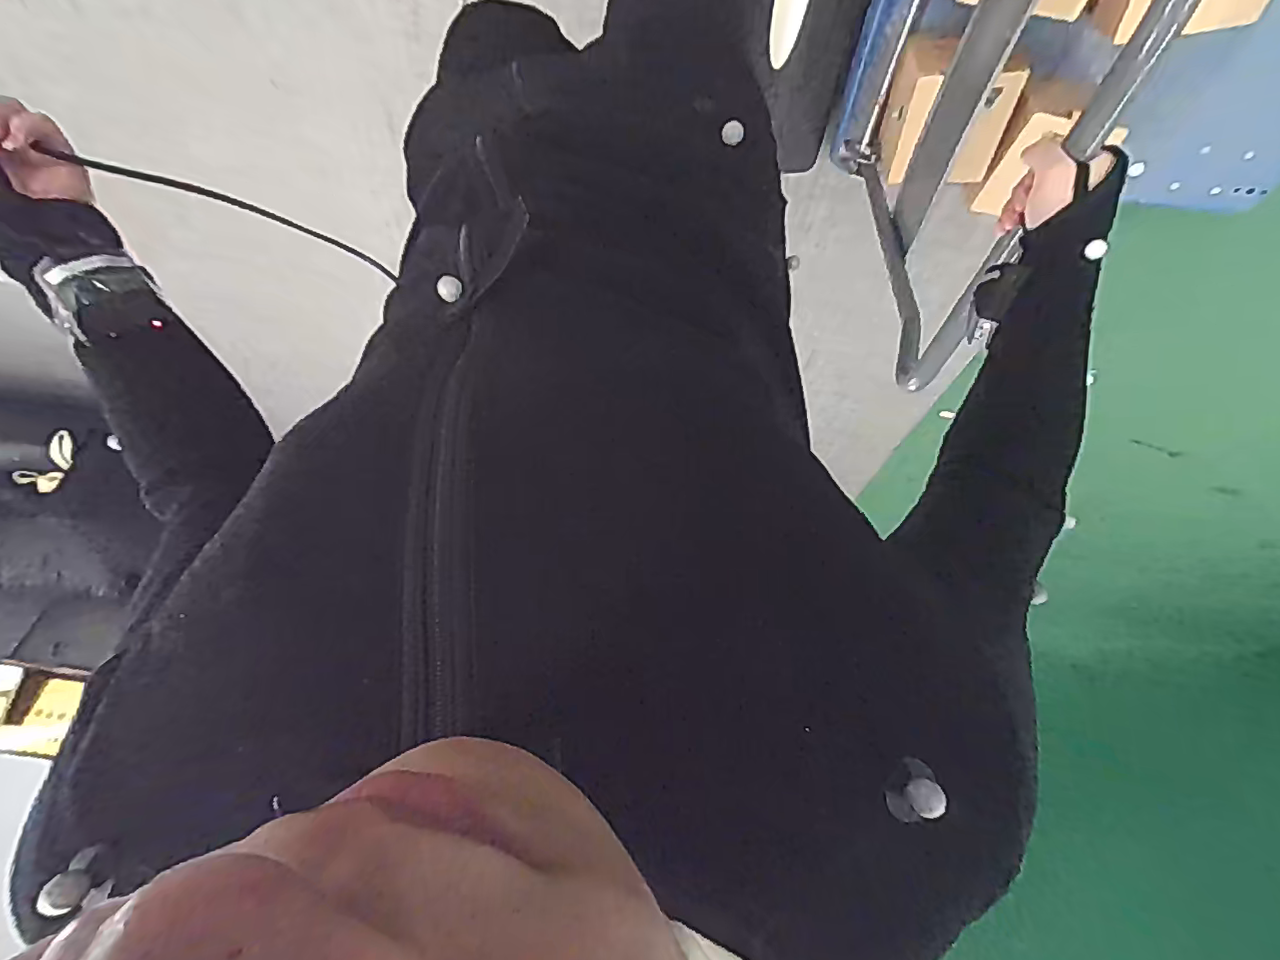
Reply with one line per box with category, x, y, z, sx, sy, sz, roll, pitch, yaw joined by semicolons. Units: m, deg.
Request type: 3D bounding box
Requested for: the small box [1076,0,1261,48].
small box;0.765;-0.748;0.760;0.179;0.176;0.168;0;147;13
